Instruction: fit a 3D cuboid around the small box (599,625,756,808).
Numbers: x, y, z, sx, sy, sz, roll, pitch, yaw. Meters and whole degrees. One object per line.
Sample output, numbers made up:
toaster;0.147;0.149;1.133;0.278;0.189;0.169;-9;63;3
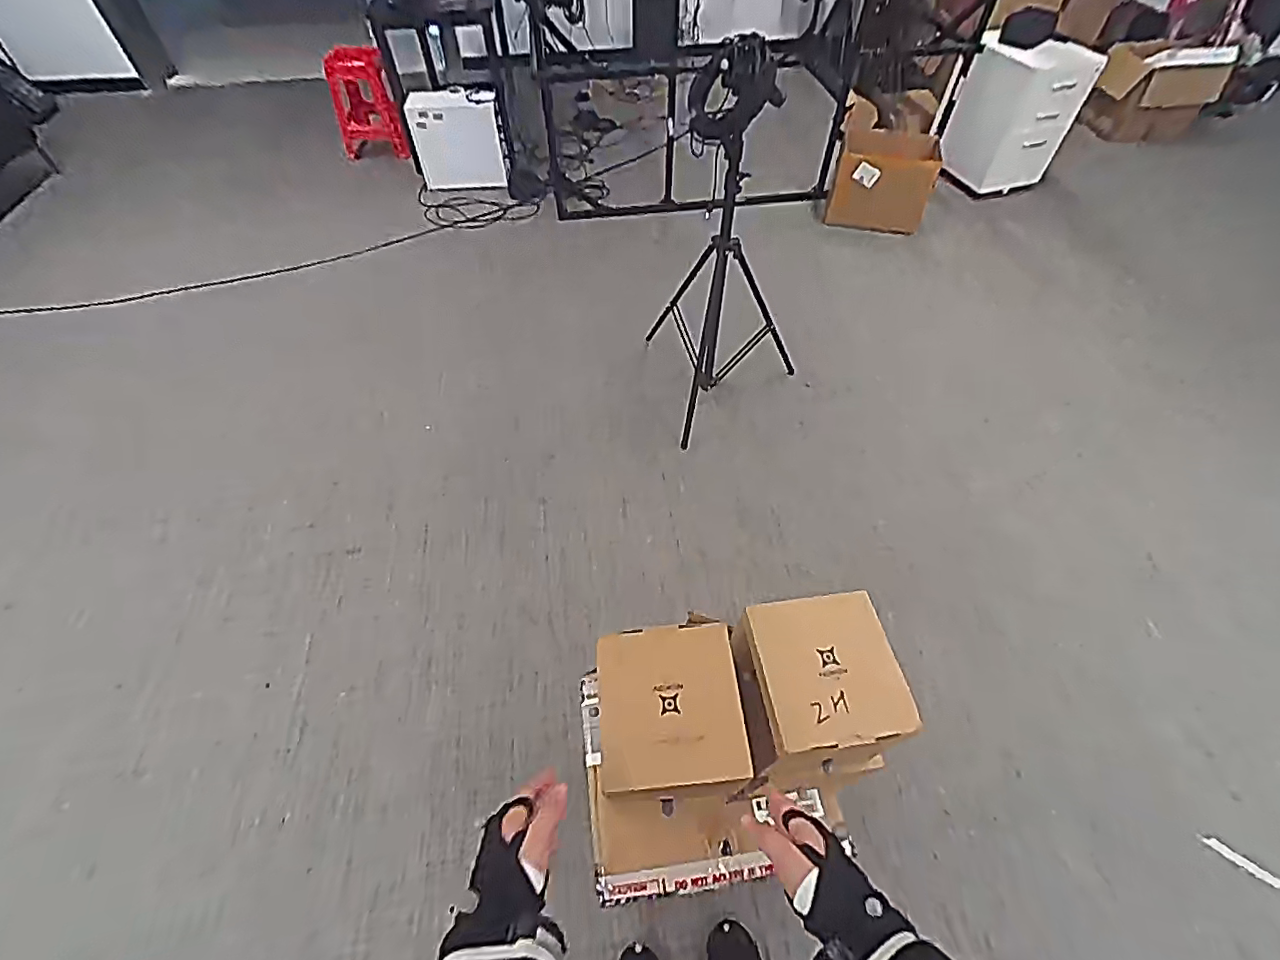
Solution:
small box;0.039;0.304;0.688;0.168;0.176;0.179;-6;56;-1

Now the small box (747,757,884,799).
small box;0.240;0.378;0.837;0.168;0.176;0.179;-4;55;-4

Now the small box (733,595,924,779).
small box;0.225;0.273;0.710;0.168;0.176;0.179;-6;55;-6
